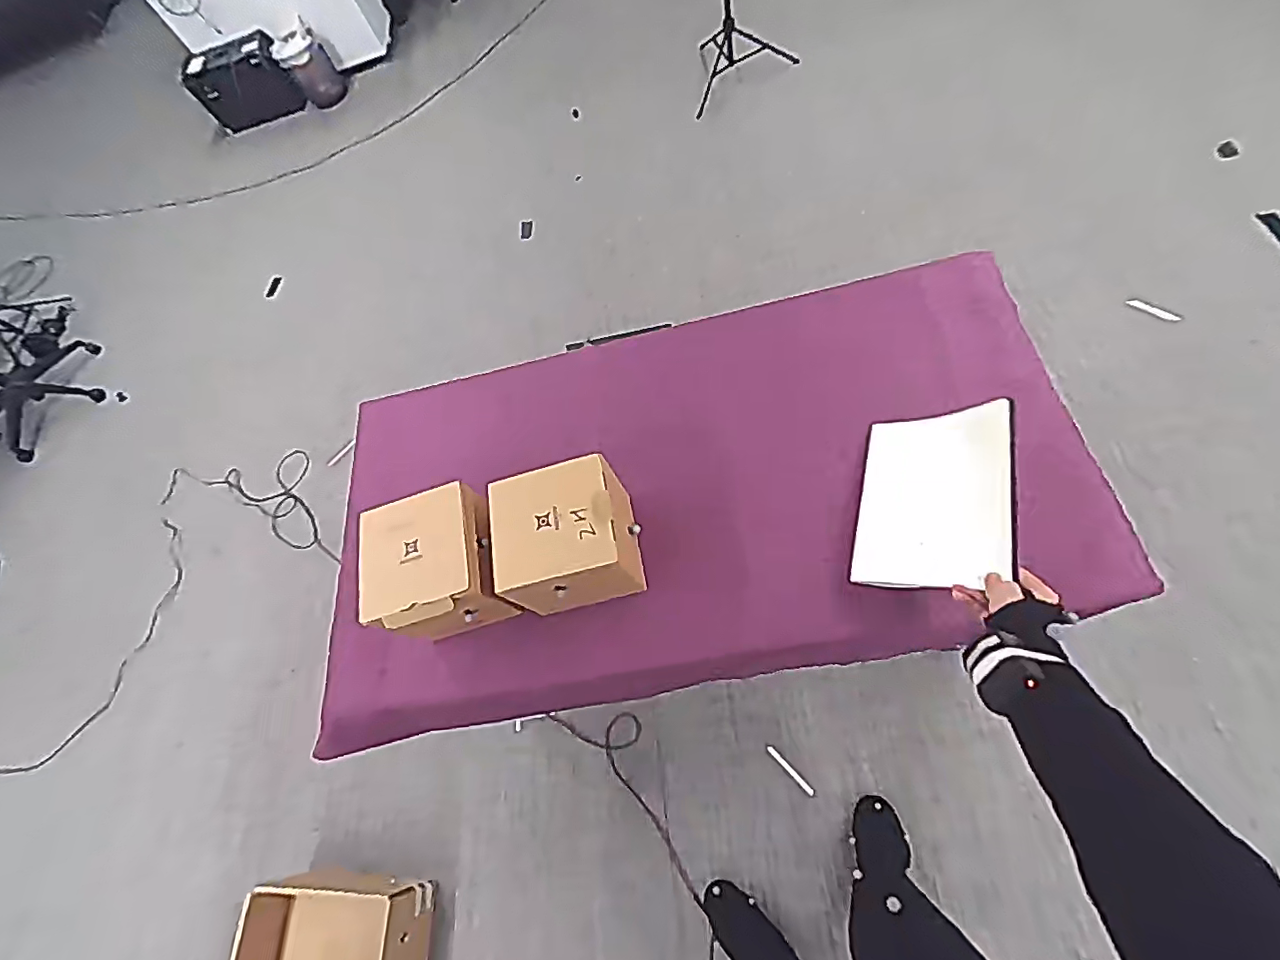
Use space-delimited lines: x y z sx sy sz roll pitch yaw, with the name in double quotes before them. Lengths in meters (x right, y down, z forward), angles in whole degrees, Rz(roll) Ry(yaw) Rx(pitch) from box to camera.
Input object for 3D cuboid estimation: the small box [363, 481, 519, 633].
"small box" -0.303 0.130 0.842 0.168 0.176 0.179 -18 63 5
